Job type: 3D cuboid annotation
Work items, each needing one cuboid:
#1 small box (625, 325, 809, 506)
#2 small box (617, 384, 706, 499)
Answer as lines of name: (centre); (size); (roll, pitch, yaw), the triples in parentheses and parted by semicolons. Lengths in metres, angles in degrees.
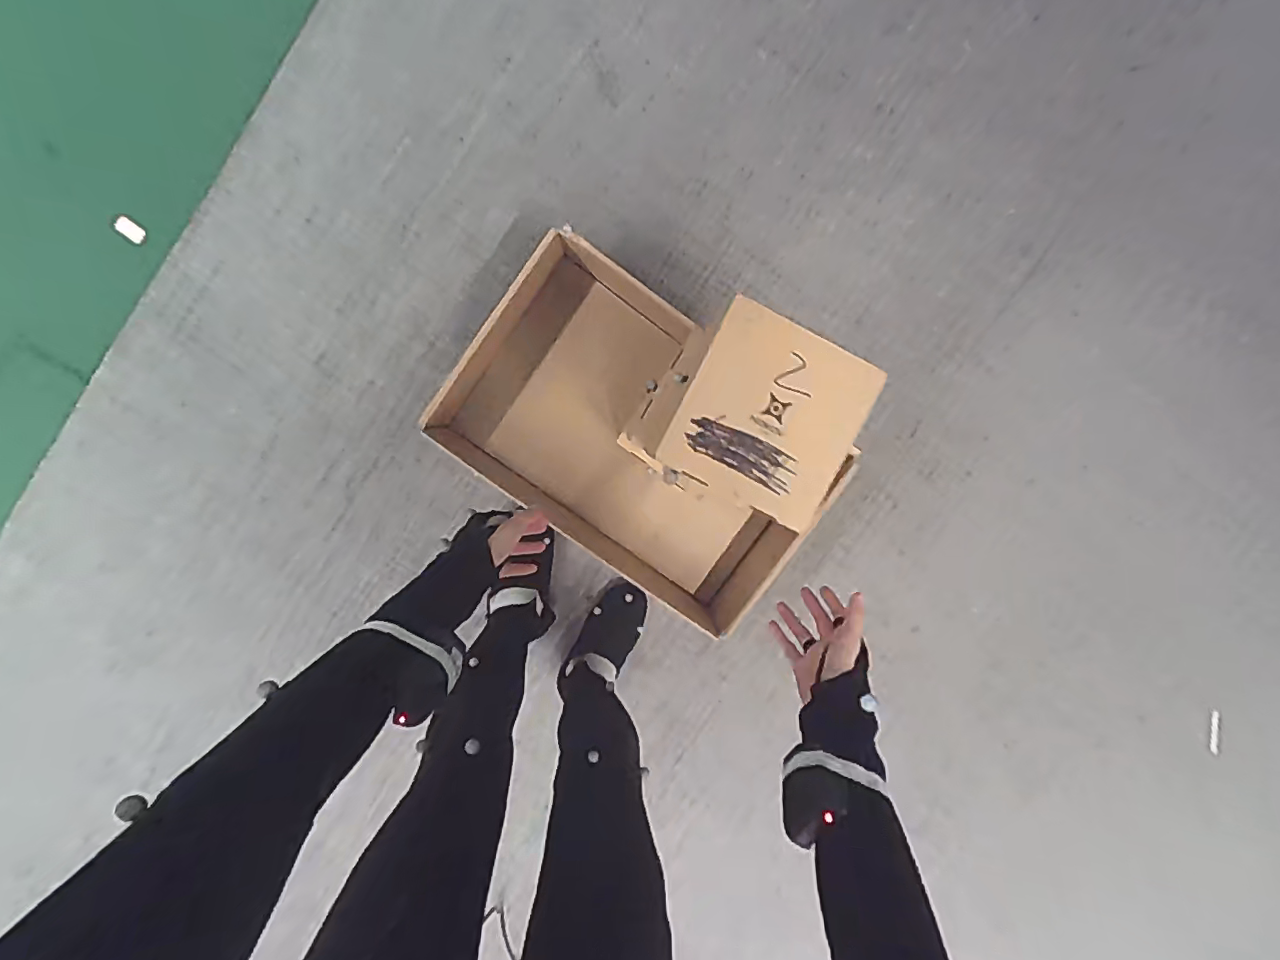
small box: (0.095, -0.085, 0.748); (0.179, 0.176, 0.168); (31, 96, -3)
small box: (0.076, -0.094, 0.912); (0.168, 0.176, 0.179); (36, 96, -3)
